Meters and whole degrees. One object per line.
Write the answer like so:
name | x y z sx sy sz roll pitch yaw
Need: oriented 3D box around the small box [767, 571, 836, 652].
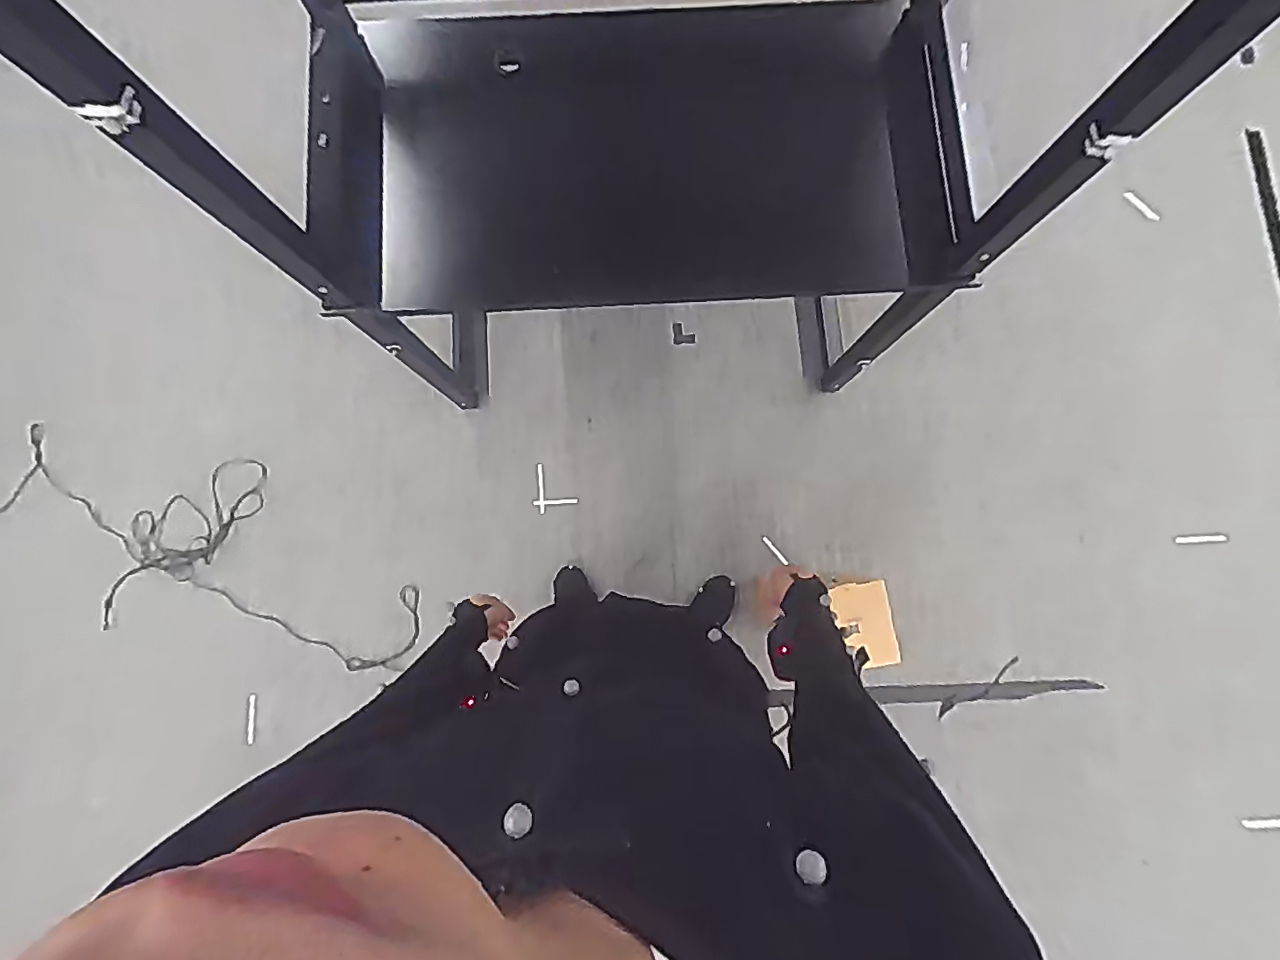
small box | 0.439 0.328 1.379 0.179 0.176 0.168 -8 83 -1

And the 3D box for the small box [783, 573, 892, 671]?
small box | 0.436 0.313 1.217 0.168 0.176 0.179 -9 83 -1
